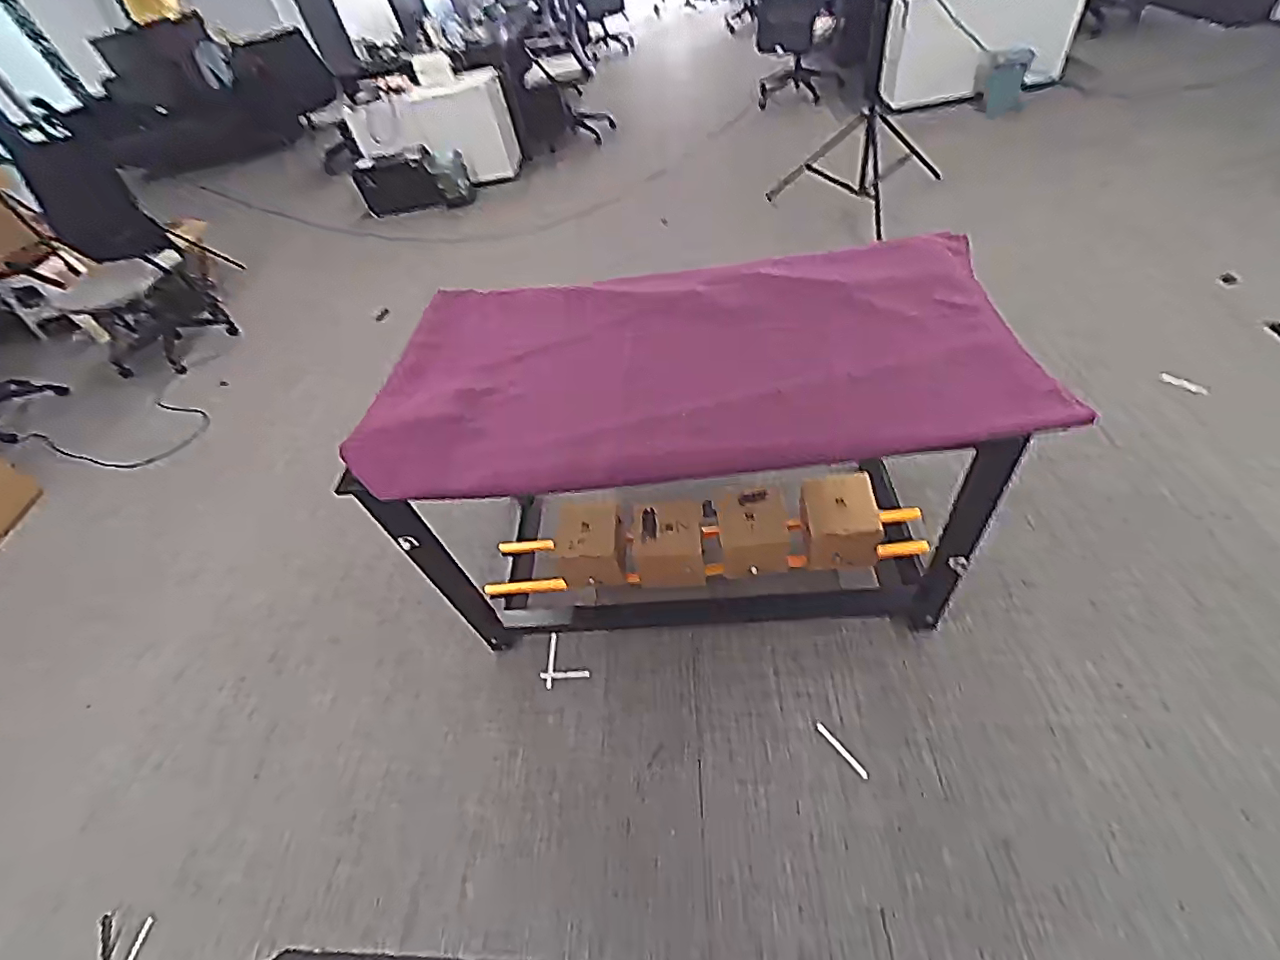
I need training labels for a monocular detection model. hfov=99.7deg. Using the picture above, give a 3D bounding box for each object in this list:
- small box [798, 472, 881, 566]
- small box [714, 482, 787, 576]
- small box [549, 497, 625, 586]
[{"bbox_3d":[0.502,0.101,1.386,0.168,0.176,0.179,-5,51,10],"label":"small box"},{"bbox_3d":[0.285,0.131,1.414,0.168,0.176,0.179,-7,52,8],"label":"small box"},{"bbox_3d":[-0.136,0.169,1.471,0.168,0.176,0.179,-5,51,8],"label":"small box"}]
